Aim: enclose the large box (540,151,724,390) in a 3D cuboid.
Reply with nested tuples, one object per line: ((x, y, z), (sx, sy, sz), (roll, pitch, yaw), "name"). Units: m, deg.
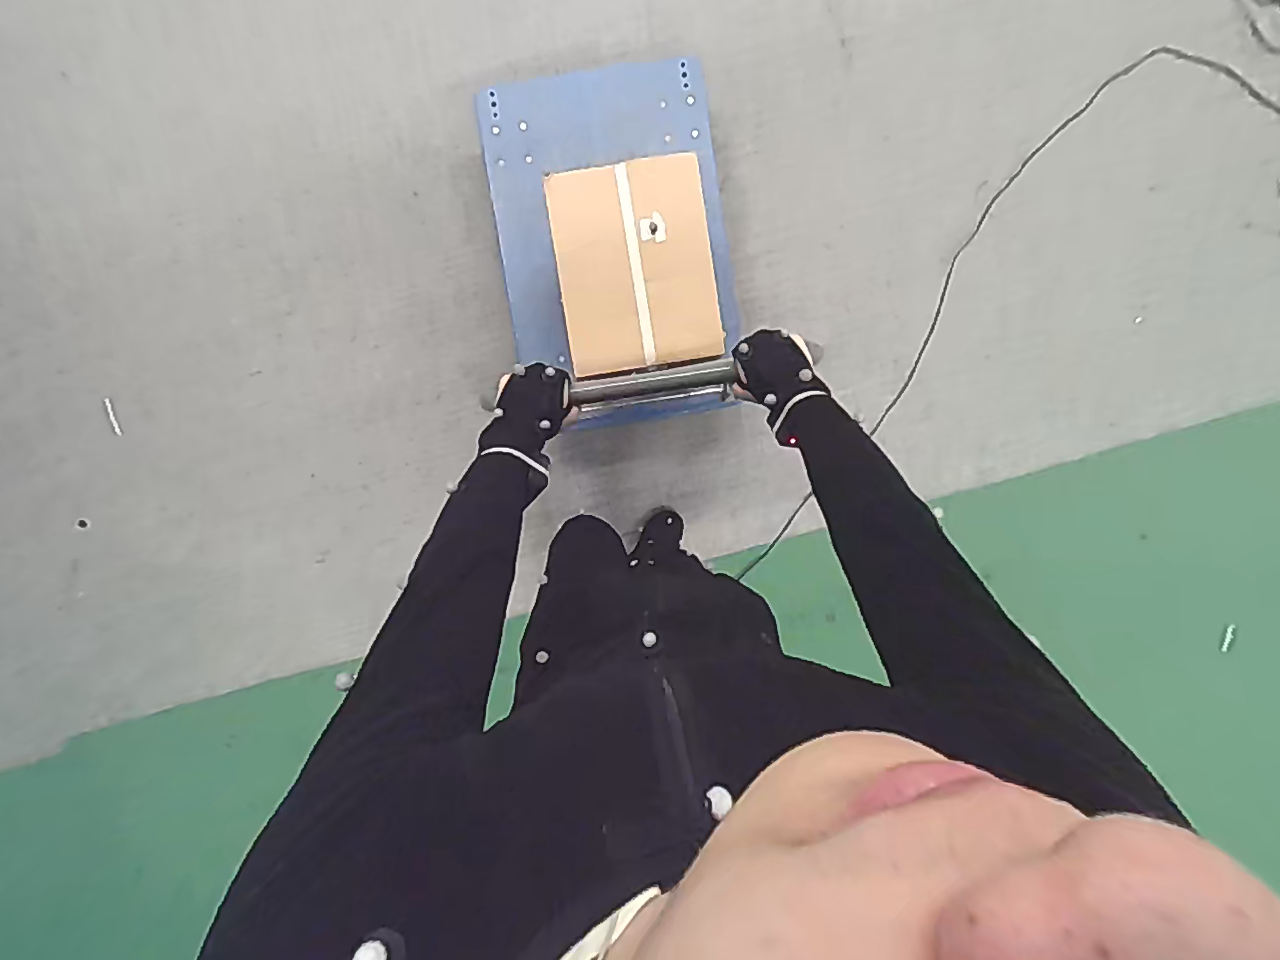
((-0.015, -0.444, 1.237), (0.320, 0.320, 0.408), (-10, 93, -1), "large box")
